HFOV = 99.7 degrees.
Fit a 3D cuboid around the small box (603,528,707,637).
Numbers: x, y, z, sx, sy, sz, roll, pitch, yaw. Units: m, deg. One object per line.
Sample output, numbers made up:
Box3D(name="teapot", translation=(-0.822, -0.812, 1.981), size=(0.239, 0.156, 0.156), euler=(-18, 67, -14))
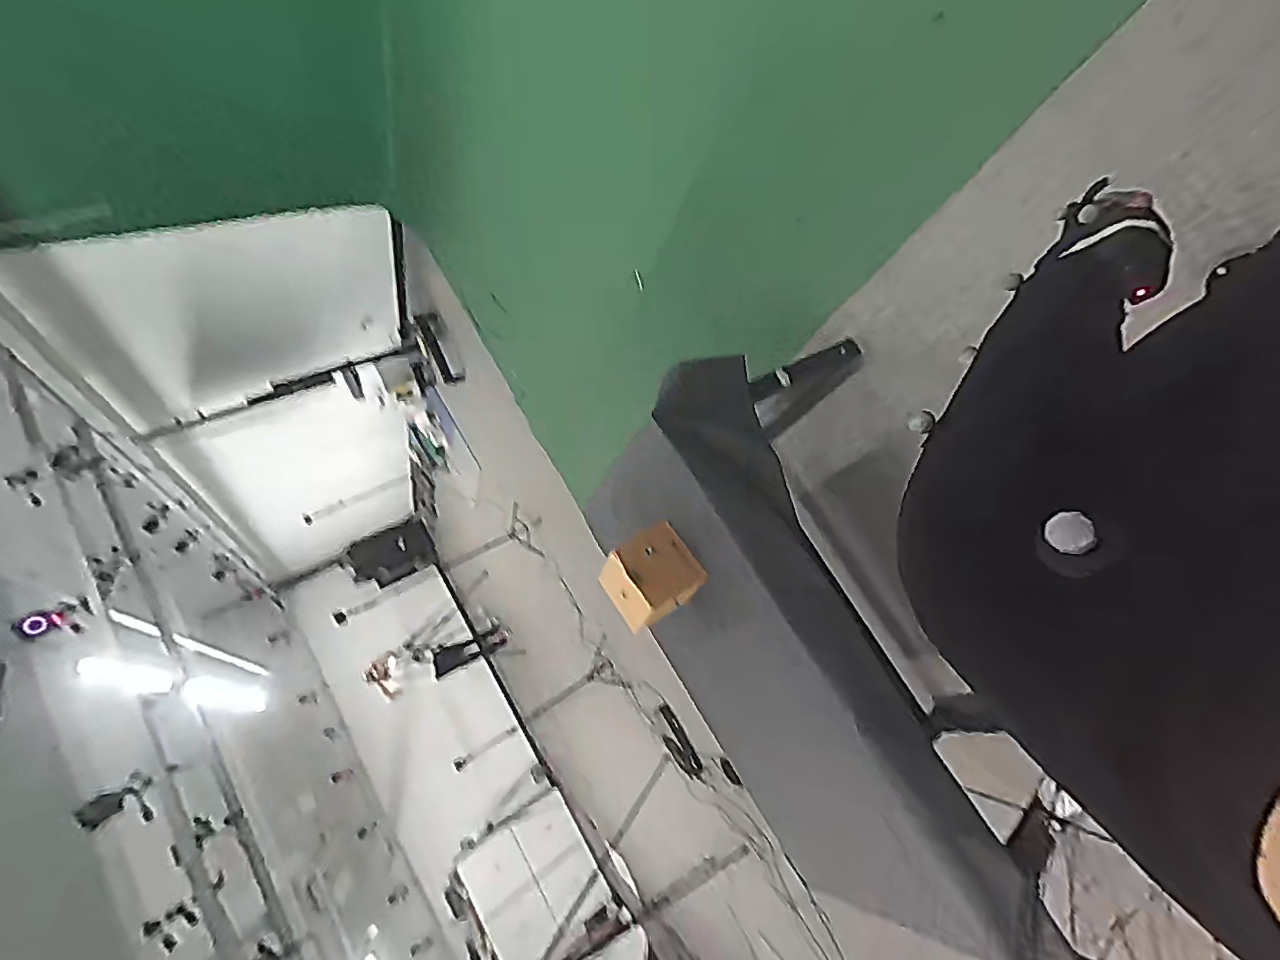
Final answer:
Box3D(name="small box", translation=(0.037, 0.241, 1.294), size=(0.168, 0.176, 0.179), euler=(54, 151, 21))
